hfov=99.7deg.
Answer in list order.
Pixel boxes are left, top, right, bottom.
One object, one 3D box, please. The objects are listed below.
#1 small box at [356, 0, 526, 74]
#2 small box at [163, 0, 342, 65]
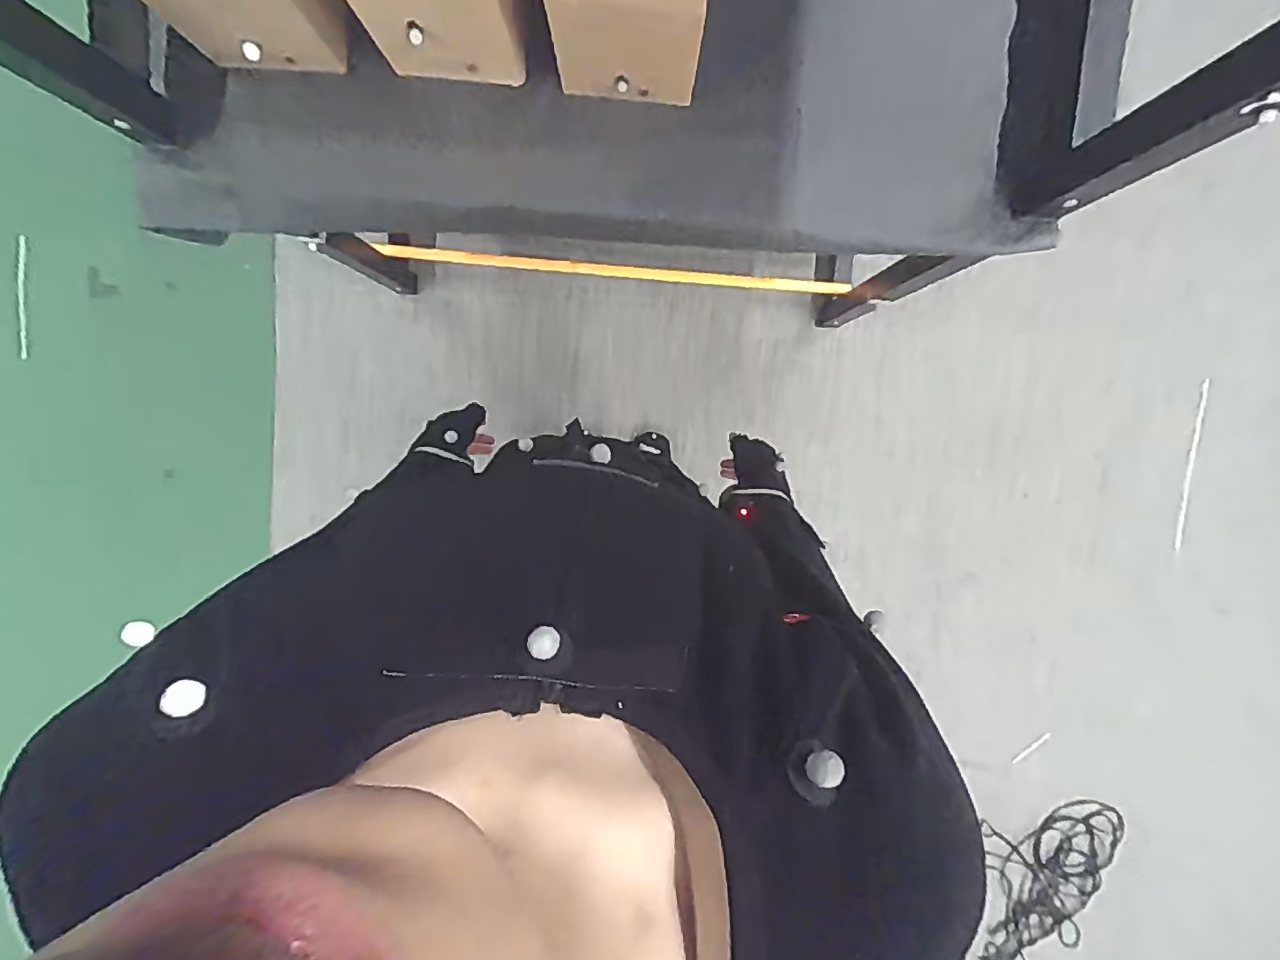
[{"bbox_3d":[-0.222,-0.594,0.597,0.168,0.176,0.179,4,95,-2],"label":"small box"},{"bbox_3d":[-0.449,-0.606,0.590,0.168,0.176,0.179,2,97,-1],"label":"small box"}]
